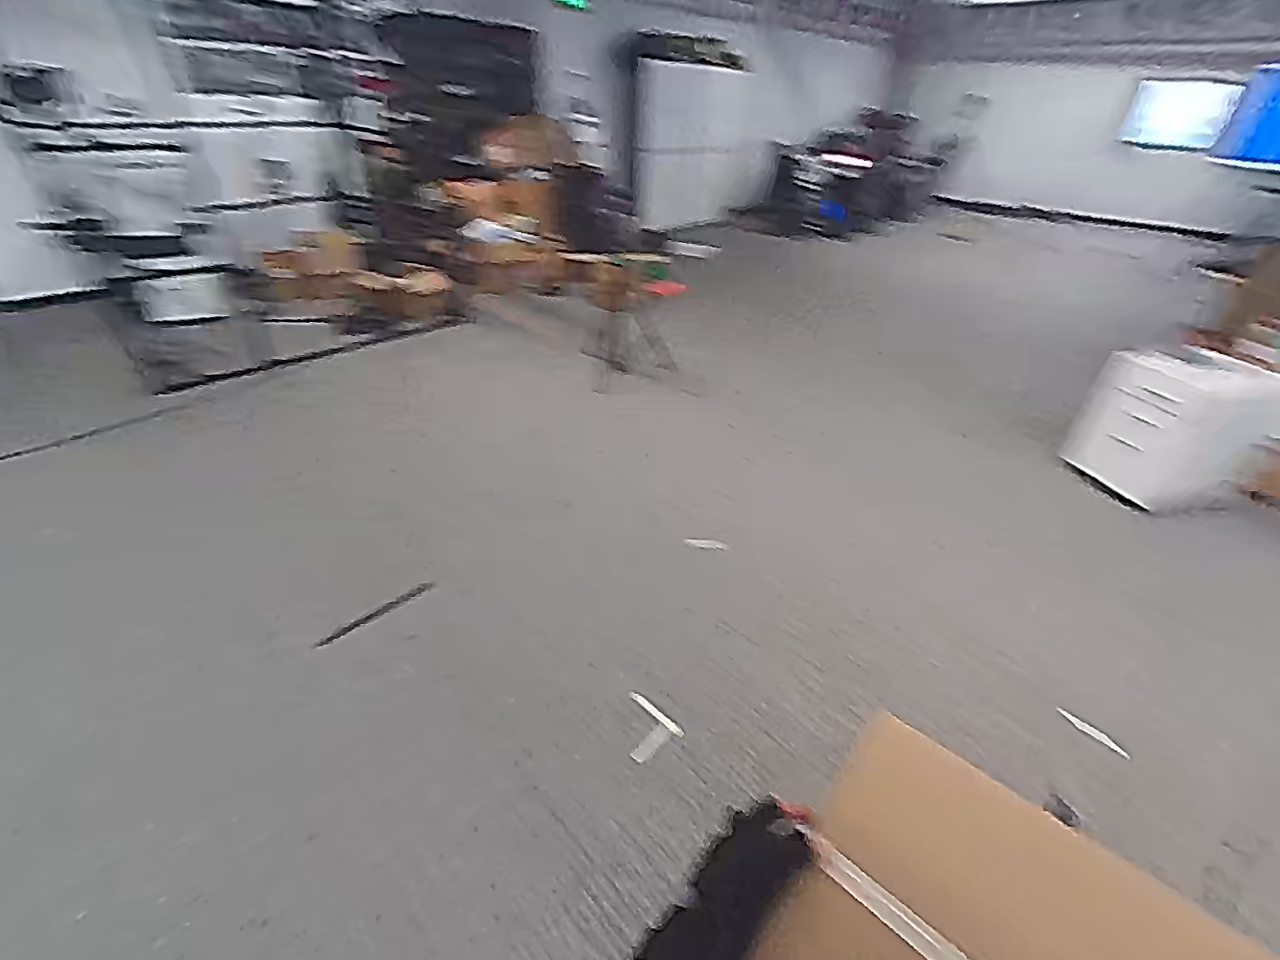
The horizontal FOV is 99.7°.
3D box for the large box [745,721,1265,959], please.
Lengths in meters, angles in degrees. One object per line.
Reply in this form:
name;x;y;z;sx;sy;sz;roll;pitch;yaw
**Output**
large box;0.320;0.523;0.494;0.408;0.320;0.320;29;54;33
